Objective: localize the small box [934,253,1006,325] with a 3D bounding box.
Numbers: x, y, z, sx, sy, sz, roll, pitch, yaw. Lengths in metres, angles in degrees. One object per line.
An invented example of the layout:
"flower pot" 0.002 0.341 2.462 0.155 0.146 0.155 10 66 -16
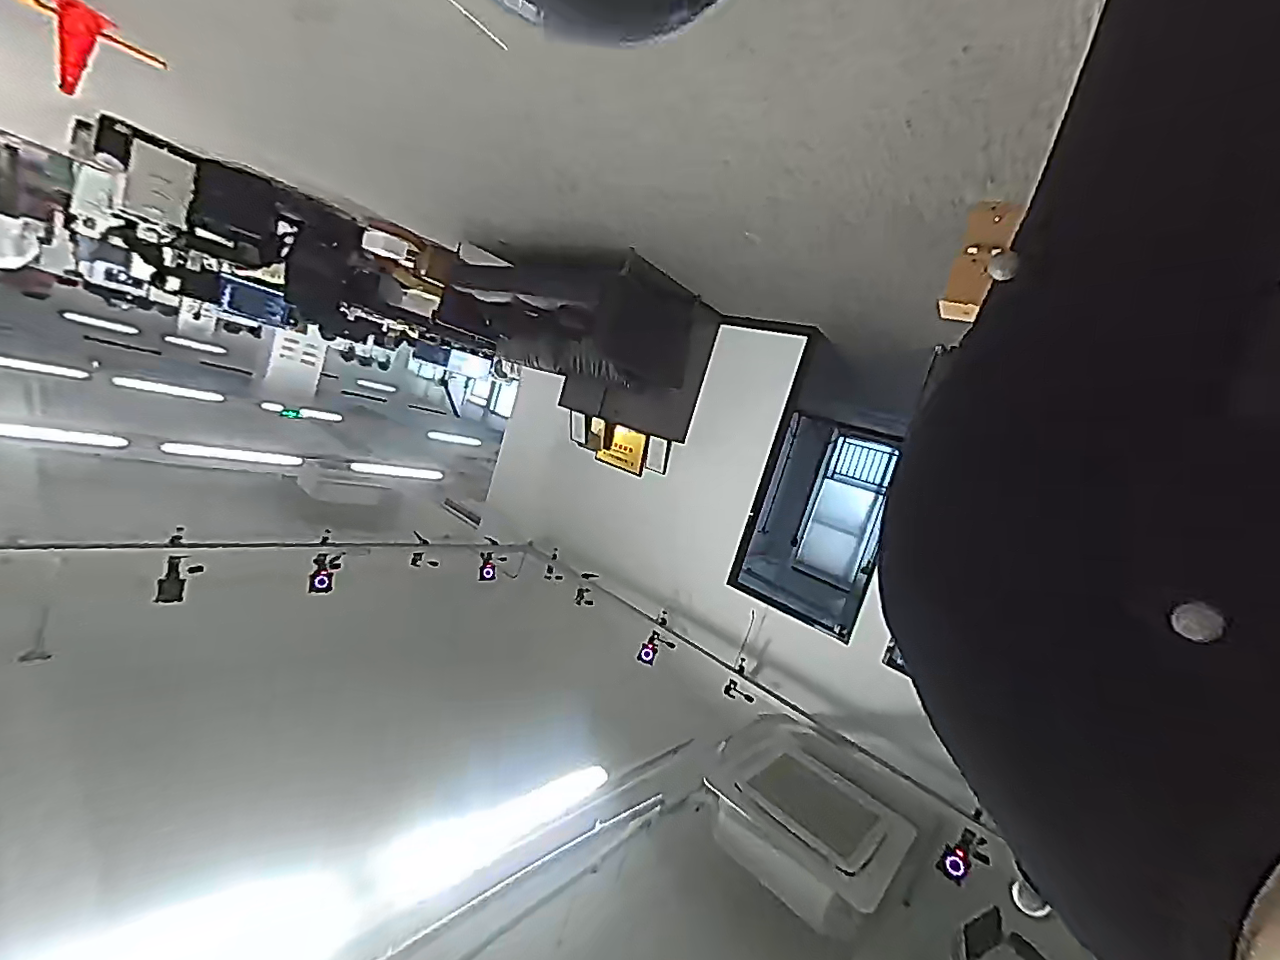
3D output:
"small box" 1.114 -0.644 1.826 0.168 0.176 0.179 22 -173 31

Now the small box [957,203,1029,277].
"small box" 1.165 -0.794 1.802 0.168 0.176 0.179 18 -175 25
